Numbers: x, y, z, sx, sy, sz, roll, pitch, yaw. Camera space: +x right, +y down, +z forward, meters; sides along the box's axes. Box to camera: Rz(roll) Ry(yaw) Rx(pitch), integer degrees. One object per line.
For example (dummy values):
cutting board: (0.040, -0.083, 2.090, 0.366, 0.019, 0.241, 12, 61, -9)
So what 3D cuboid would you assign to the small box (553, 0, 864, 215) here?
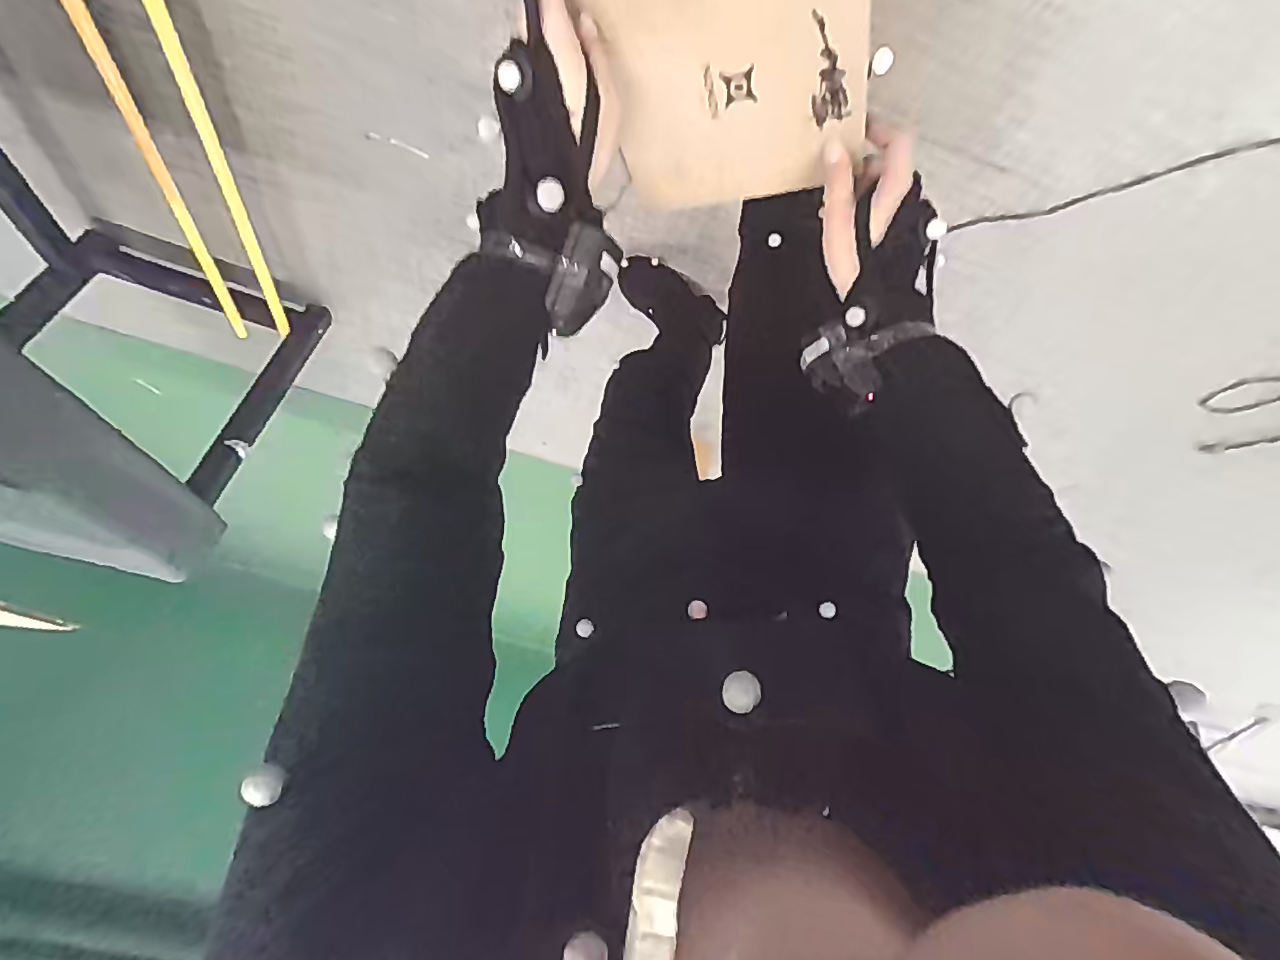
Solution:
small box: (0.065, -0.328, 0.389, 0.179, 0.176, 0.168, 2, 155, 22)
